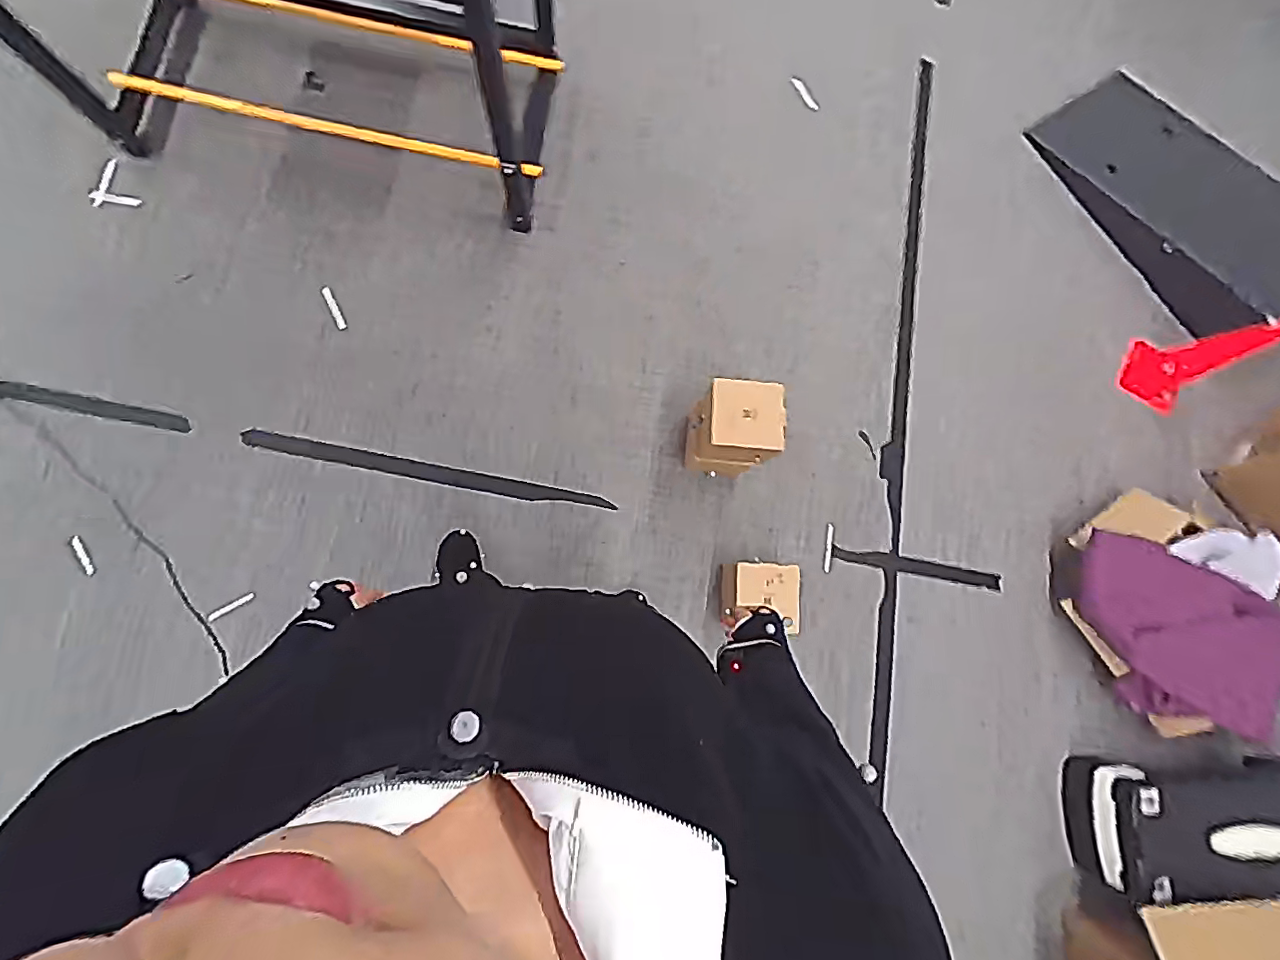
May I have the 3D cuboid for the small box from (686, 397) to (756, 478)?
[{"bbox_3d":[0.229,-0.114,1.515,0.168,0.176,0.179,7,81,-4],"label":"small box"}]

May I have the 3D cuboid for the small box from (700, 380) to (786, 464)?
[{"bbox_3d":[0.254,-0.139,1.356,0.179,0.176,0.168,4,79,-3],"label":"small box"}]

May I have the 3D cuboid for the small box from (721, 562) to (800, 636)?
[{"bbox_3d":[0.320,0.315,1.455,0.168,0.176,0.179,4,80,-4],"label":"small box"}]
